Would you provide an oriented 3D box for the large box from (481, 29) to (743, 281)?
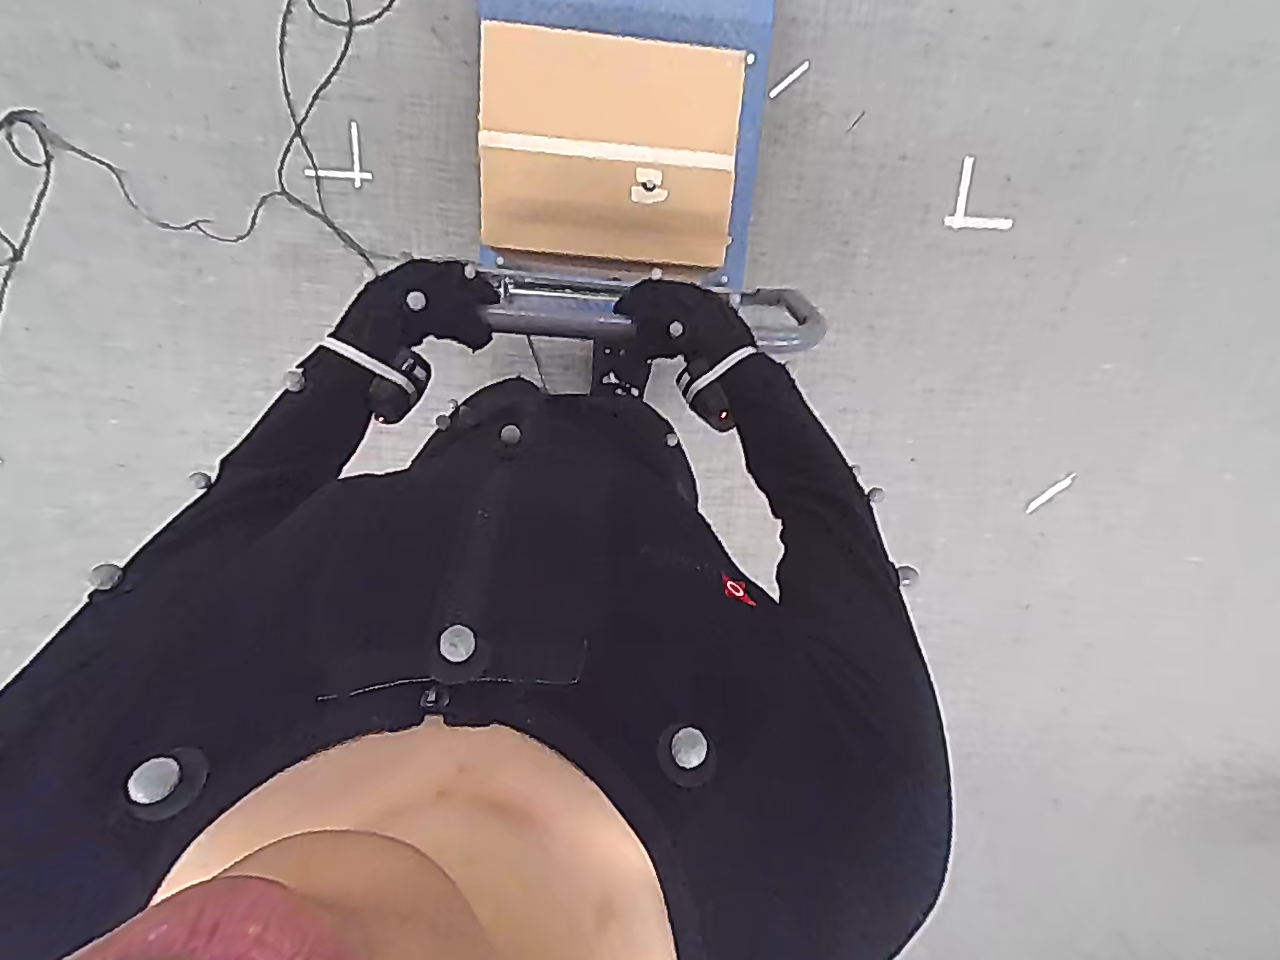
[{"bbox_3d":[-0.058,-0.554,0.997,0.408,0.320,0.320,3,106,-4],"label":"large box"}]
